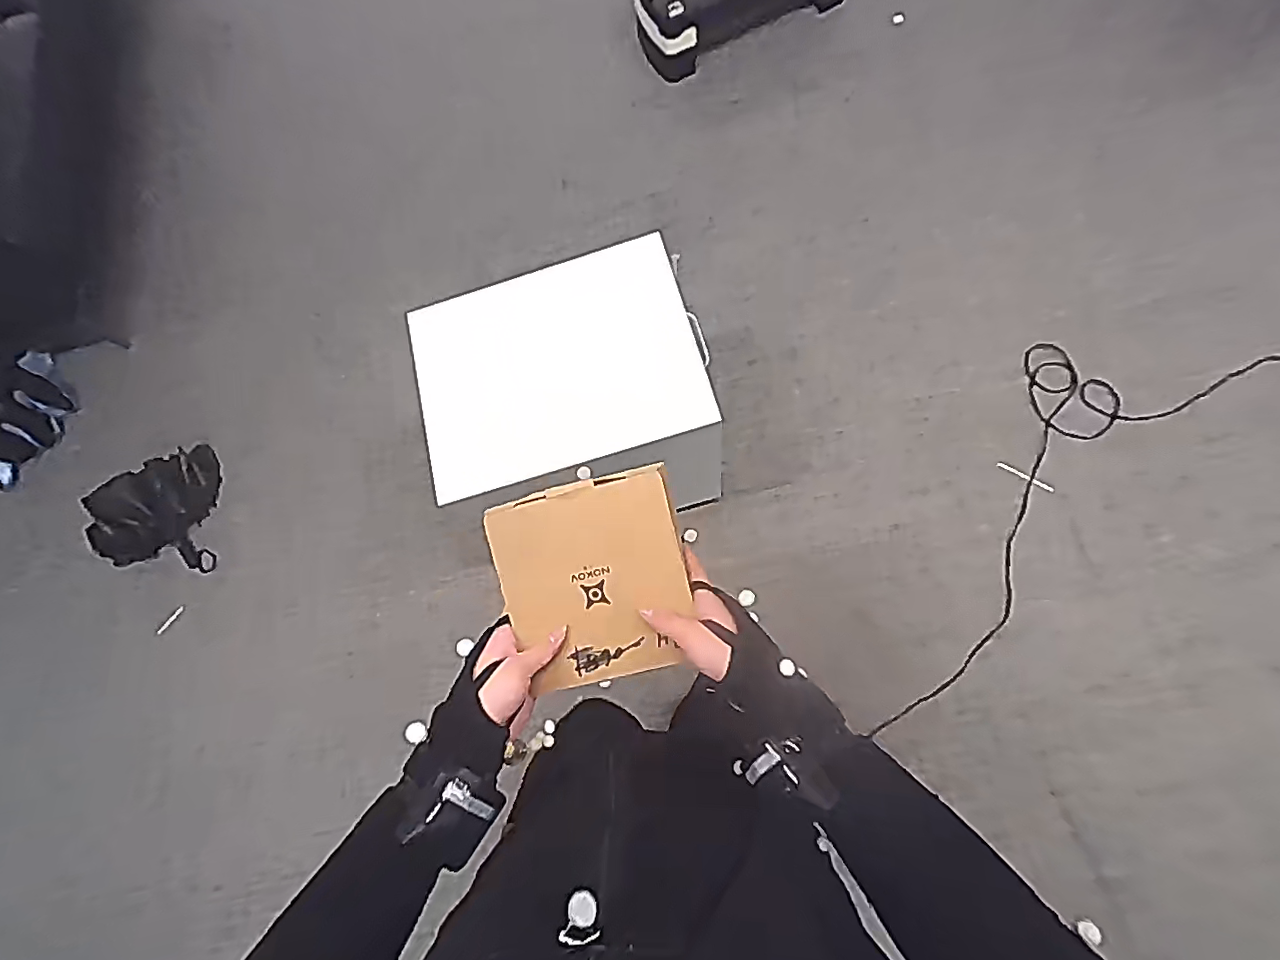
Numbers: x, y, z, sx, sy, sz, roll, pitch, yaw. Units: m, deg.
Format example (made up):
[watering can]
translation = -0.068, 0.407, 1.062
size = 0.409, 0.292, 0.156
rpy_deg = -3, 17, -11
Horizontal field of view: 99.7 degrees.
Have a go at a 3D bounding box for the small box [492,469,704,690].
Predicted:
[small box]
translation = -0.034, 0.090, 0.570
size = 0.168, 0.176, 0.179
rpy_deg = -14, 91, 5
